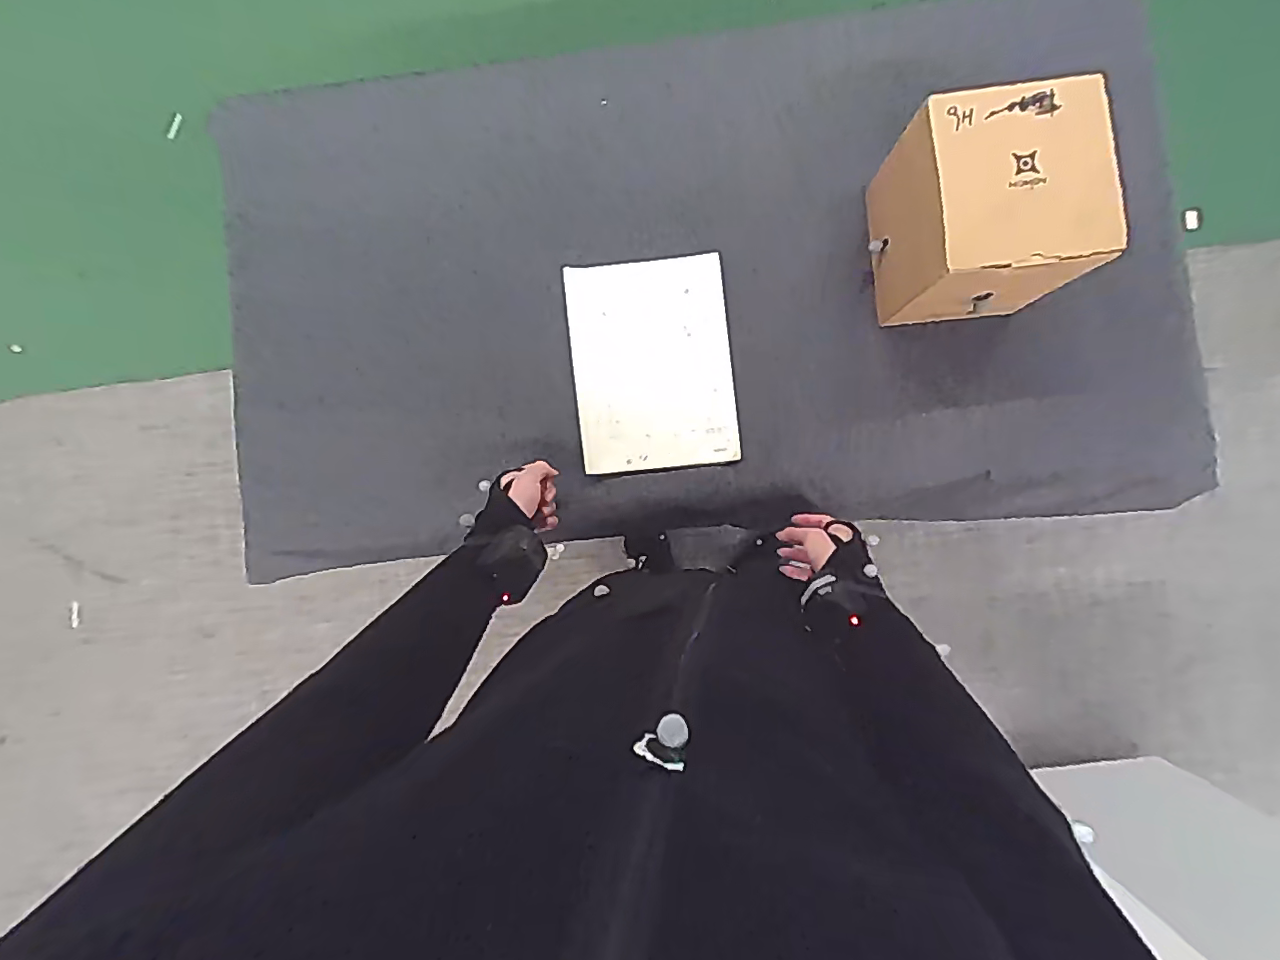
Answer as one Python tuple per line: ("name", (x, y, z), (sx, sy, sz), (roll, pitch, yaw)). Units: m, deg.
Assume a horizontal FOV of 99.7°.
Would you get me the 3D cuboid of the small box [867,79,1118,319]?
("small box", (0.367, -0.286, 0.594), (0.168, 0.176, 0.179), (-6, 90, 2))
